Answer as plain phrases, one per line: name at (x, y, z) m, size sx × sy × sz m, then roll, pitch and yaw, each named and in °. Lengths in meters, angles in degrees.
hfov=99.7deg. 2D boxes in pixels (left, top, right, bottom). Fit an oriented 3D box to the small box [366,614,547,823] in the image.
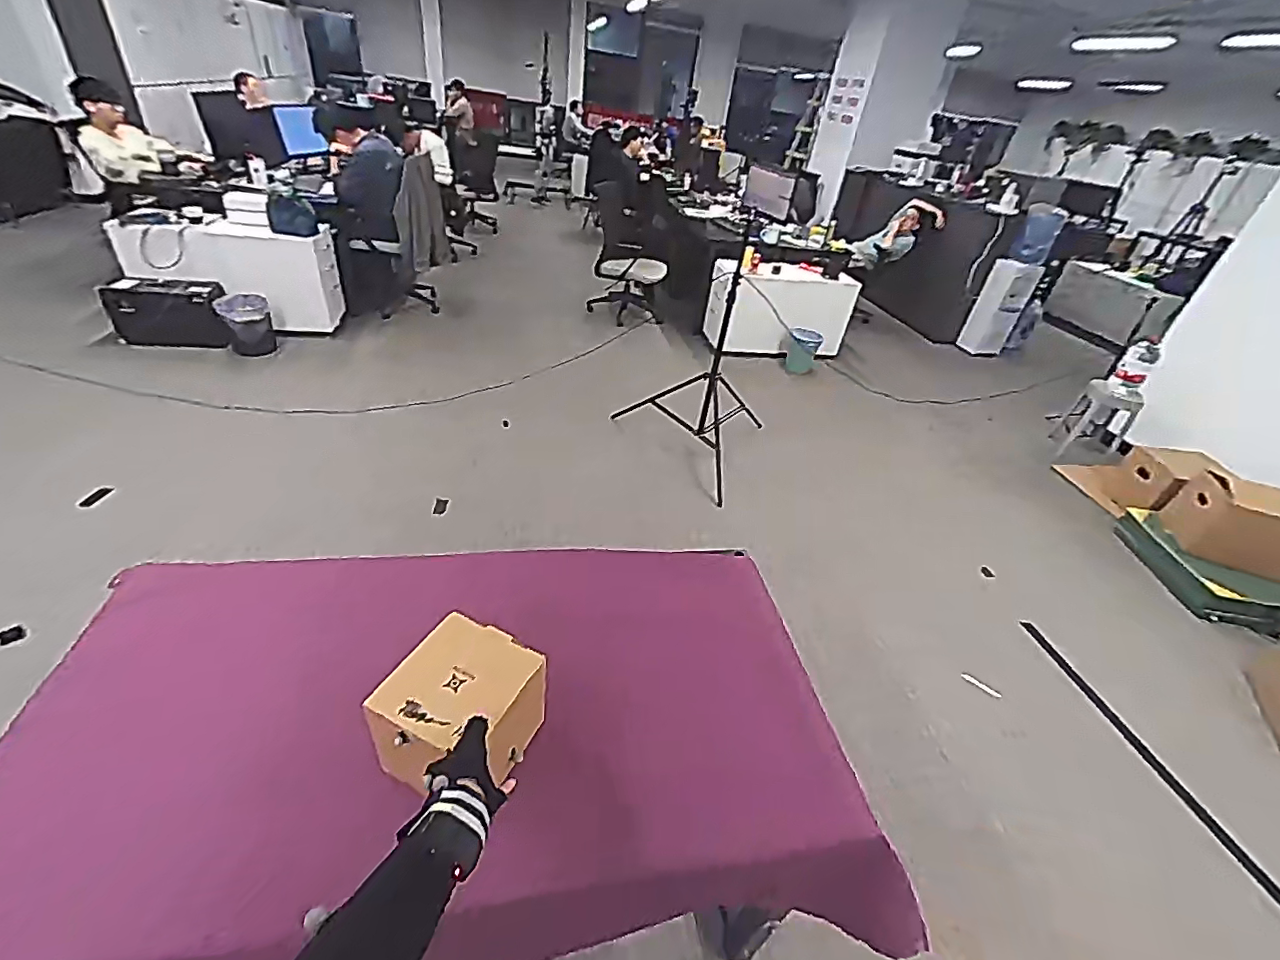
small box at (-0.251, 0.332, 0.766) m, size 0.168 × 0.176 × 0.179 m, roll 20°, pitch 36°, yaw 16°
